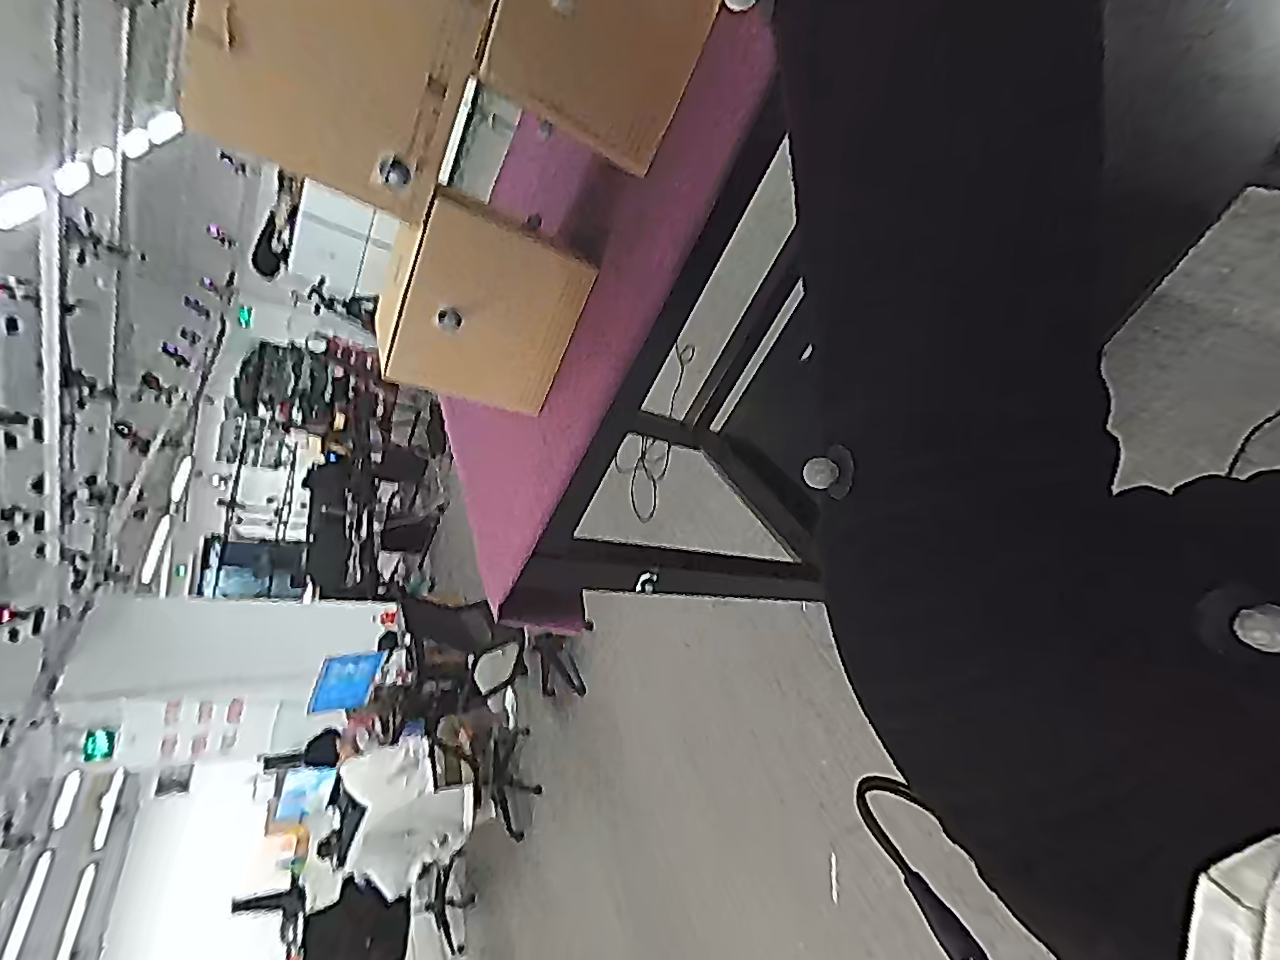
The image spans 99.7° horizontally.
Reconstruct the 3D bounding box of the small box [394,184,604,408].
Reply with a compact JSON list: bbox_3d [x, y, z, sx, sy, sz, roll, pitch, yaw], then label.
[{"bbox_3d":[-0.162,-0.201,0.604,0.179,0.176,0.168,-62,38,23],"label":"small box"}]

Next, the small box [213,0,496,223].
[{"bbox_3d":[-0.234,-0.346,0.459,0.168,0.176,0.179,-59,38,25],"label":"small box"}]

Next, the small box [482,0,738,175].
[{"bbox_3d":[-0.039,-0.409,0.488,0.179,0.176,0.168,-60,38,25],"label":"small box"}]
